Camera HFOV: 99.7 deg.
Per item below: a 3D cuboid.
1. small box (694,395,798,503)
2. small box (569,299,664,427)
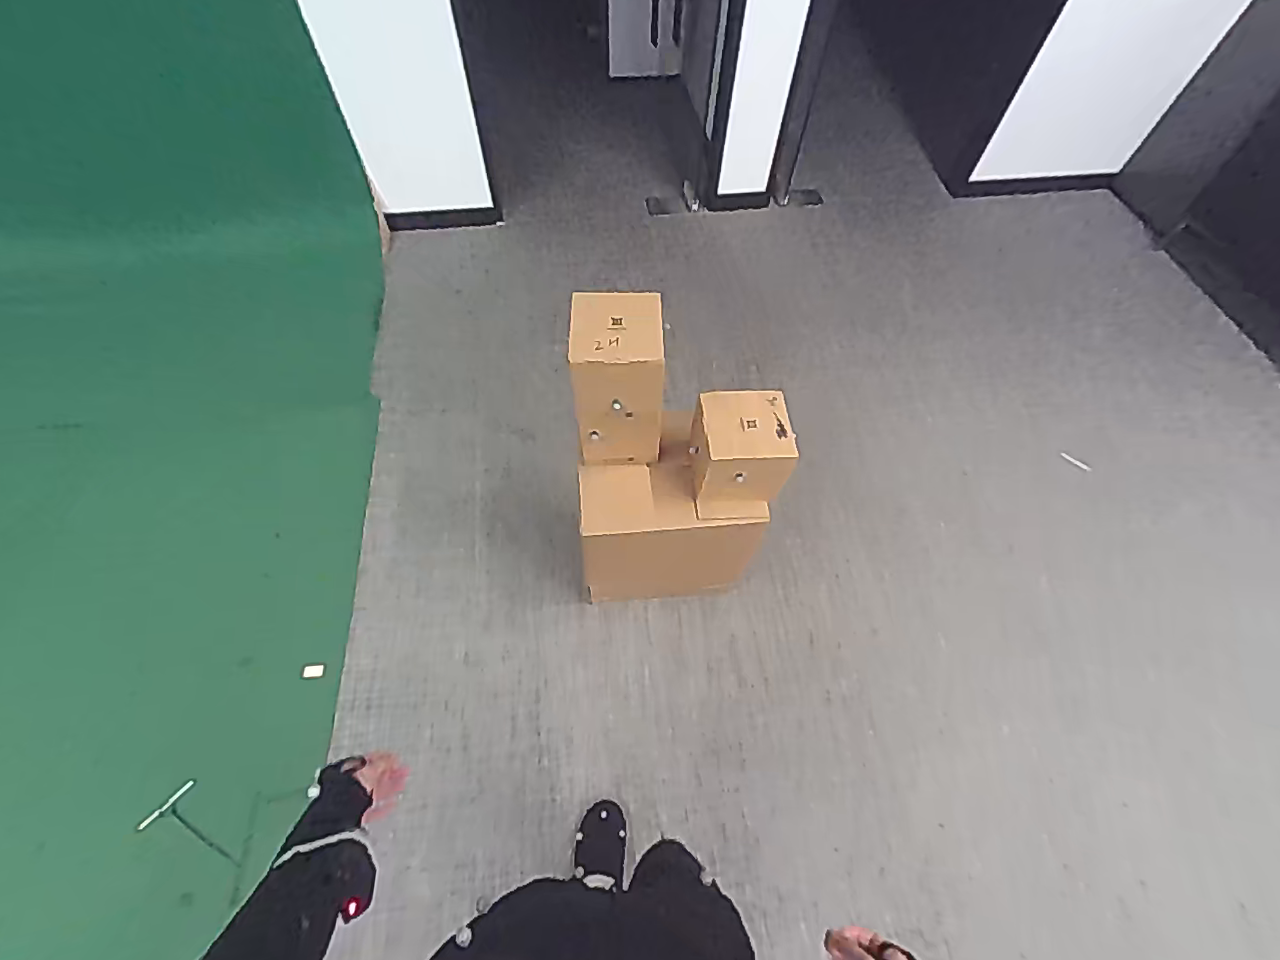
[{"bbox_3d":[0.209,-0.059,1.131,0.179,0.176,0.168,-3,61,-3],"label":"small box"},{"bbox_3d":[-0.042,-0.221,1.034,0.168,0.176,0.179,-1,59,-1],"label":"small box"}]
